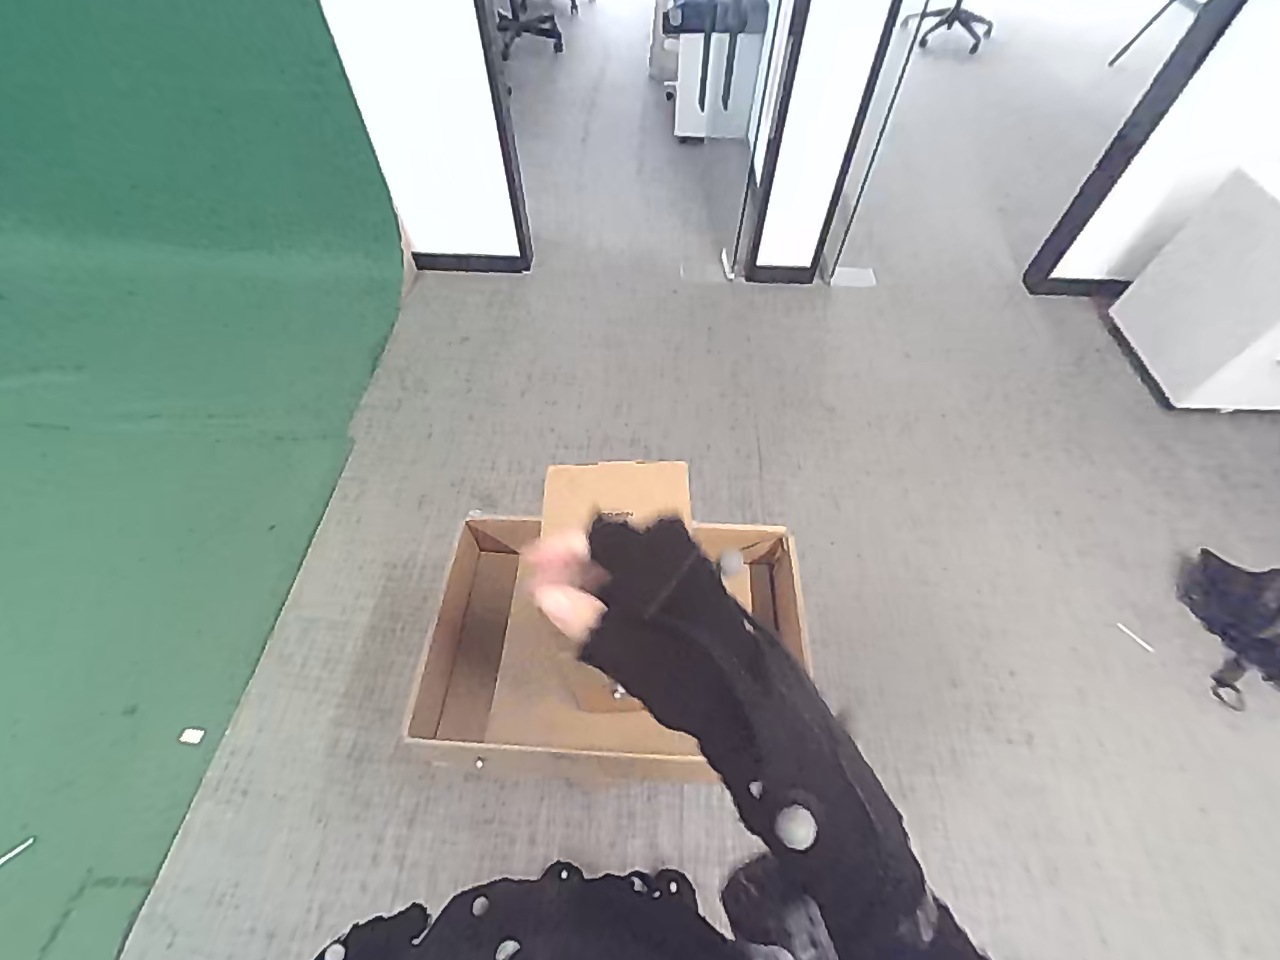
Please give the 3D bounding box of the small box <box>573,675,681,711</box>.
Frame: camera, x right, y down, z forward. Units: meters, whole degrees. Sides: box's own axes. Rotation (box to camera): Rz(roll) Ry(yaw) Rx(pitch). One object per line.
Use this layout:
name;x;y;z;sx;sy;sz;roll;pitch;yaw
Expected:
small box;-0.021;0.281;0.926;0.168;0.176;0.179;-3;54;0

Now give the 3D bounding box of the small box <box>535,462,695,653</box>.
small box;-0.026;0.097;0.658;0.168;0.176;0.179;-3;56;0
